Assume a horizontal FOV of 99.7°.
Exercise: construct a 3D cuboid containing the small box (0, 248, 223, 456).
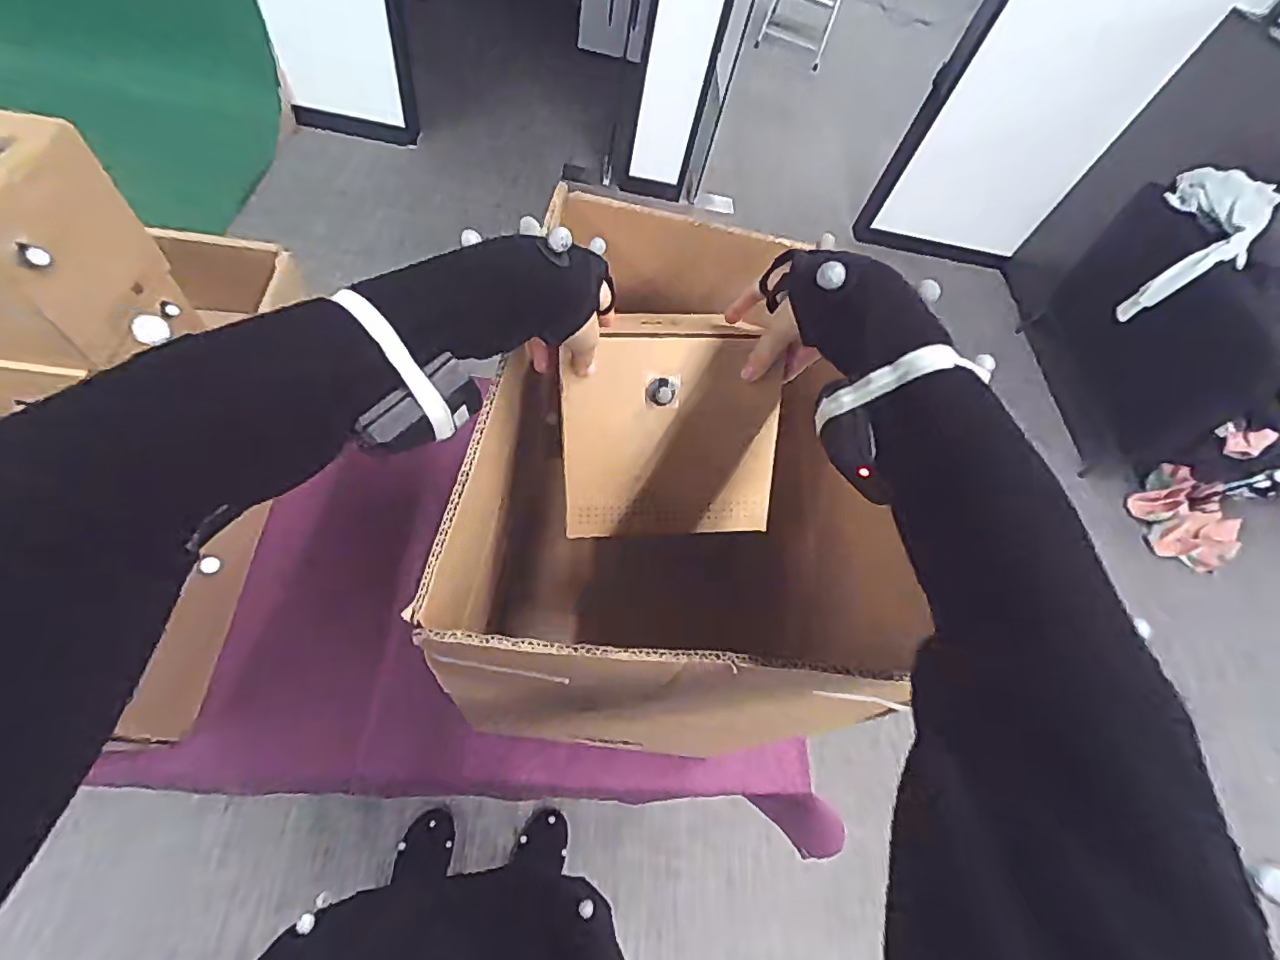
[{"bbox_3d":[-0.666,-0.148,0.666,0.168,0.176,0.179,7,59,-7],"label":"small box"}]
